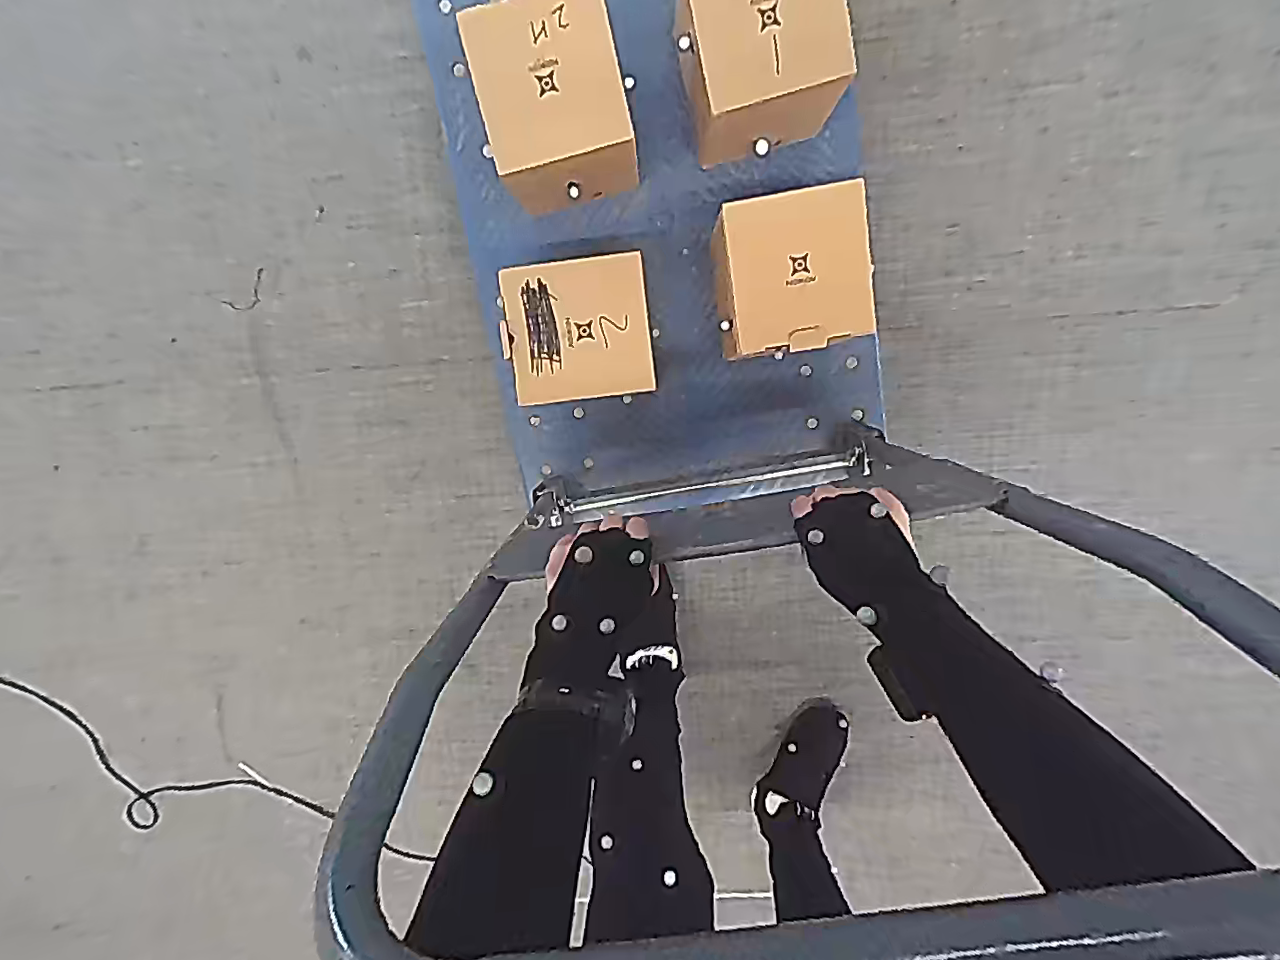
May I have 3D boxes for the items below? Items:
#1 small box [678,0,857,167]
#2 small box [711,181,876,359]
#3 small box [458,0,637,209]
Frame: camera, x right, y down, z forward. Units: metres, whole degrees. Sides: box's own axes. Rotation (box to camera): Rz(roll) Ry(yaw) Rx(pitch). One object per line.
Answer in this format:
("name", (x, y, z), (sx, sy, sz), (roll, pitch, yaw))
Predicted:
("small box", (0.144, -0.523, 0.664), (0.168, 0.176, 0.179), (-13, 101, 5))
("small box", (0.191, -0.261, 0.713), (0.168, 0.176, 0.179), (-9, 101, 4))
("small box", (-0.101, -0.465, 0.685), (0.168, 0.176, 0.179), (-13, 100, 4))
